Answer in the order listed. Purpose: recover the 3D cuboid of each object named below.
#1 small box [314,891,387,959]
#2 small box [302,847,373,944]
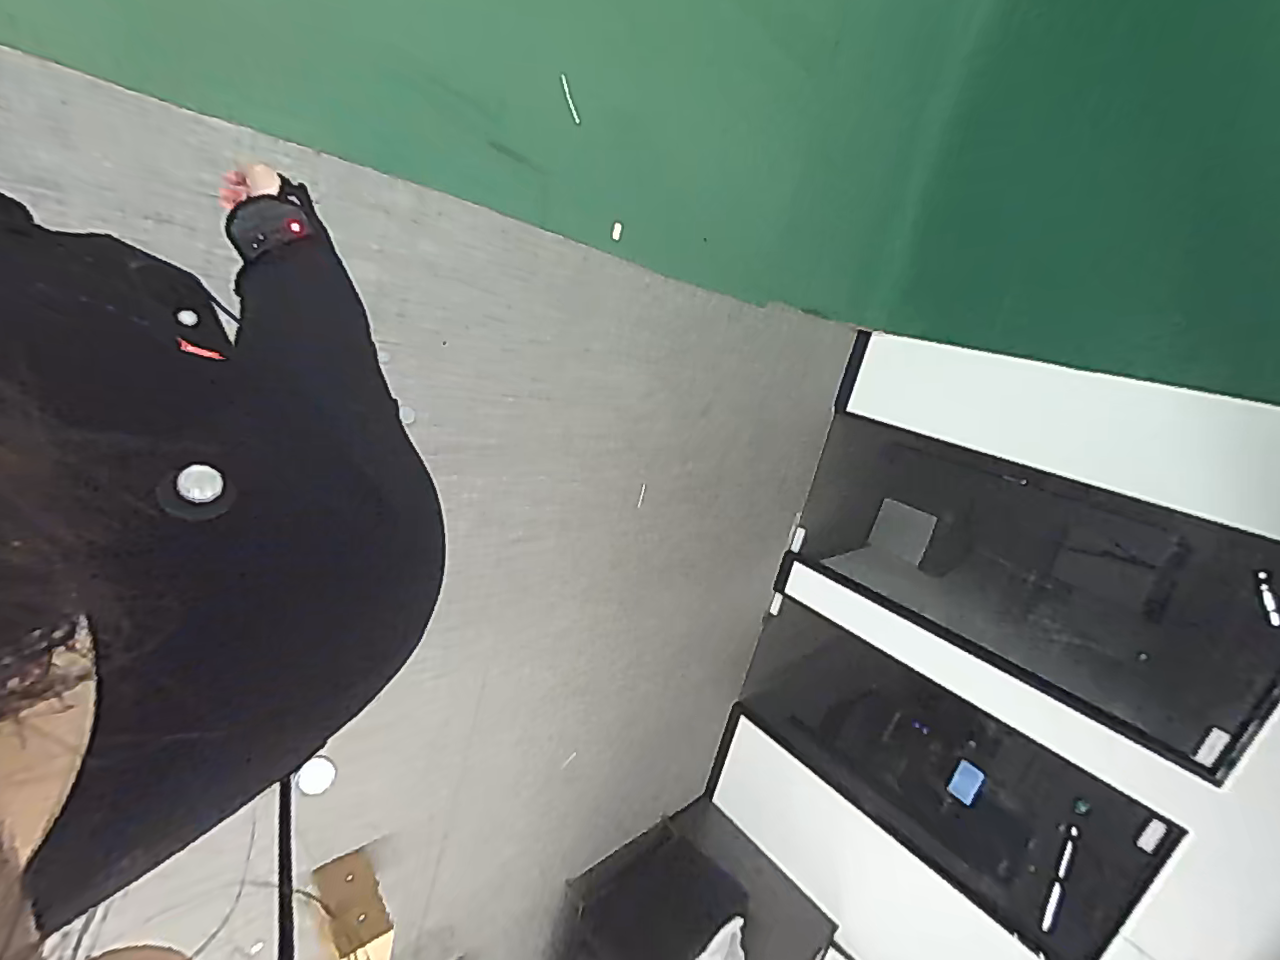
[{"bbox_3d":[-0.962,1.513,1.789,0.168,0.176,0.179,0,112,-45],"label":"small box"},{"bbox_3d":[-1.068,1.451,1.900,0.179,0.176,0.168,-2,113,-46],"label":"small box"}]
